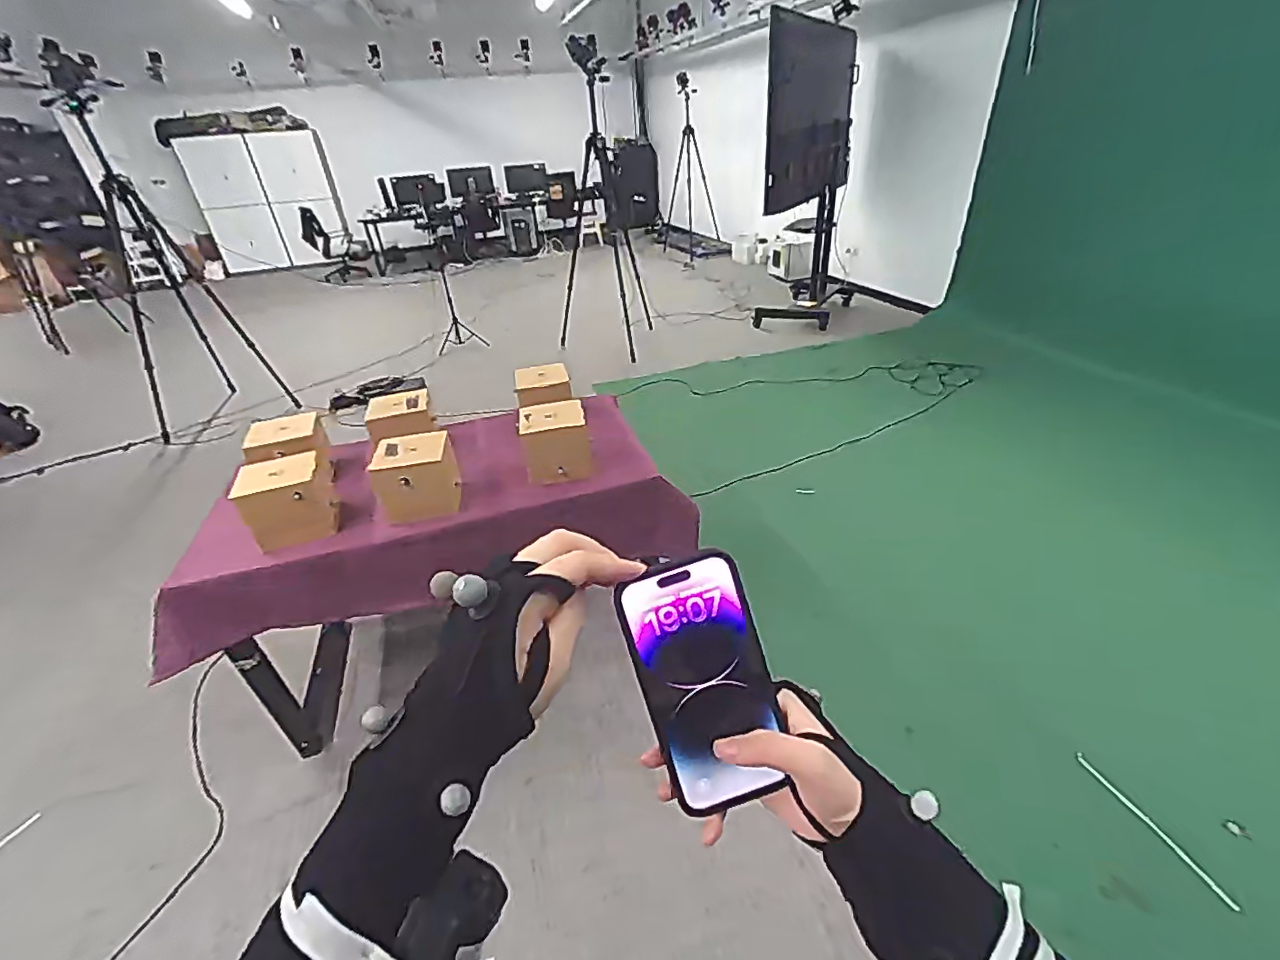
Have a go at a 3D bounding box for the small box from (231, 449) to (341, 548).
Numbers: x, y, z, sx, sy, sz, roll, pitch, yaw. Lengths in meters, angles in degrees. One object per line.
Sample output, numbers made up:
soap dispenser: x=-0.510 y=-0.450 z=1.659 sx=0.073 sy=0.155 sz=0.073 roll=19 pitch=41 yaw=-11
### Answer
small box: x=-0.879 y=0.047 z=1.360 sx=0.179 sy=0.176 sz=0.168 roll=-15 pitch=34 yaw=-18

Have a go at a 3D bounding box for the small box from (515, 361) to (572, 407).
small box: x=-0.311 y=-0.274 z=1.777 sx=0.168 sy=0.176 sz=0.179 roll=-11 pitch=34 yaw=-9

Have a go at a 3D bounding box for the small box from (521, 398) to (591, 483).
small box: x=-0.234 y=-0.111 z=1.520 sx=0.179 sy=0.176 sz=0.168 roll=-9 pitch=33 yaw=-7

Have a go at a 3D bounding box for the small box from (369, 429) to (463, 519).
small box: x=-0.577 y=-0.014 z=1.414 sx=0.179 sy=0.176 sz=0.168 roll=-9 pitch=33 yaw=-8
